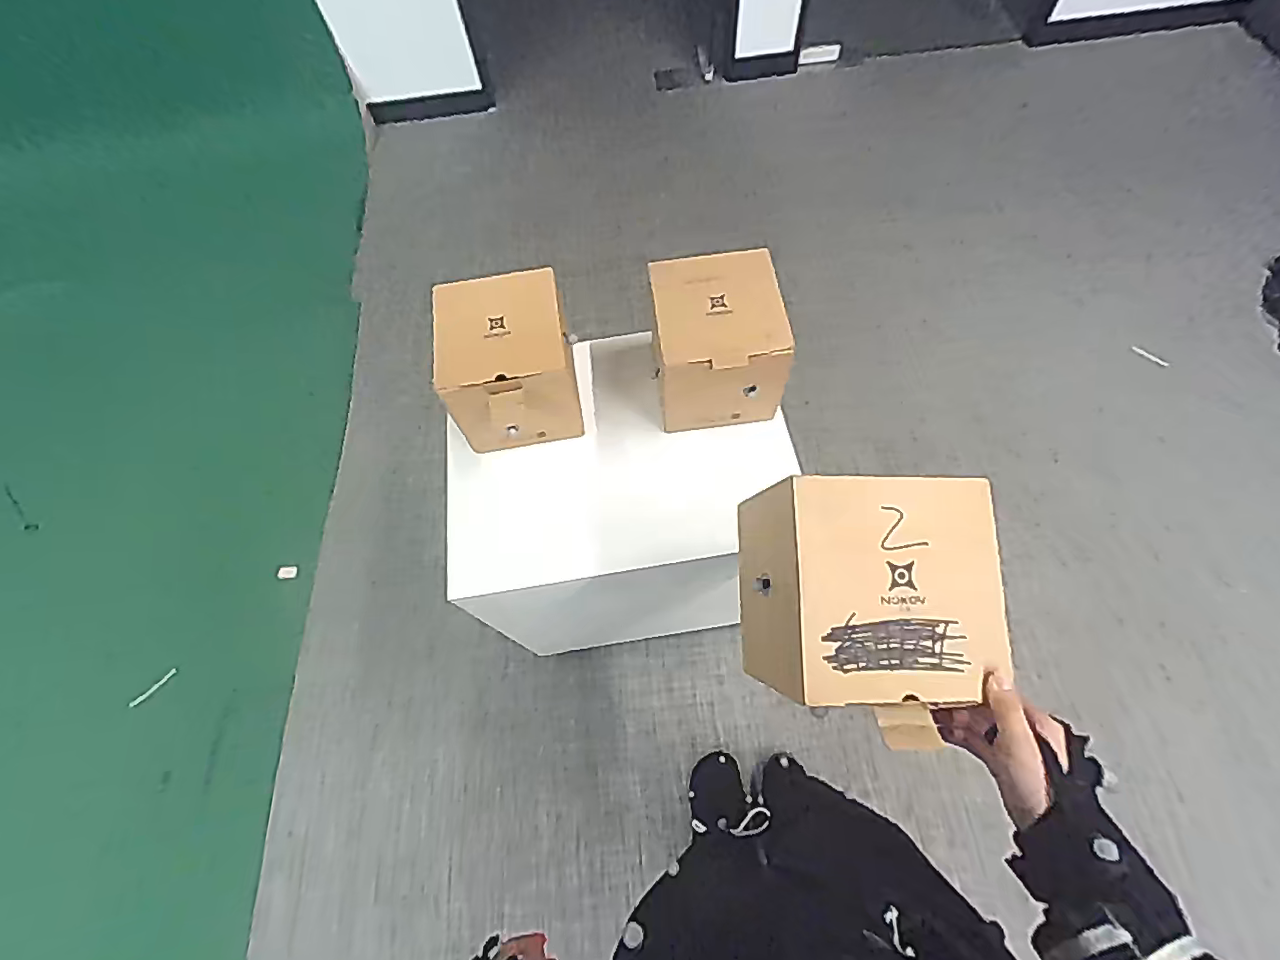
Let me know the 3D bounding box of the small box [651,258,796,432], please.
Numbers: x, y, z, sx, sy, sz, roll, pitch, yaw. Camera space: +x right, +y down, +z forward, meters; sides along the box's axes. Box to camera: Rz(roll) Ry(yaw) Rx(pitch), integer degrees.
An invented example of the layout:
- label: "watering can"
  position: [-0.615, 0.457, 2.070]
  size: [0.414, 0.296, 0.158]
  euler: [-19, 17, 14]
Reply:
- label: "small box"
  position: [0.108, -0.179, 0.767]
  size: [0.168, 0.176, 0.179]
  euler: [-7, 64, 0]

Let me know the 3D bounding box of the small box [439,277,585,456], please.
- label: "small box"
  position: [-0.176, -0.156, 0.772]
  size: [0.168, 0.176, 0.179]
  euler: [-9, 66, -2]
